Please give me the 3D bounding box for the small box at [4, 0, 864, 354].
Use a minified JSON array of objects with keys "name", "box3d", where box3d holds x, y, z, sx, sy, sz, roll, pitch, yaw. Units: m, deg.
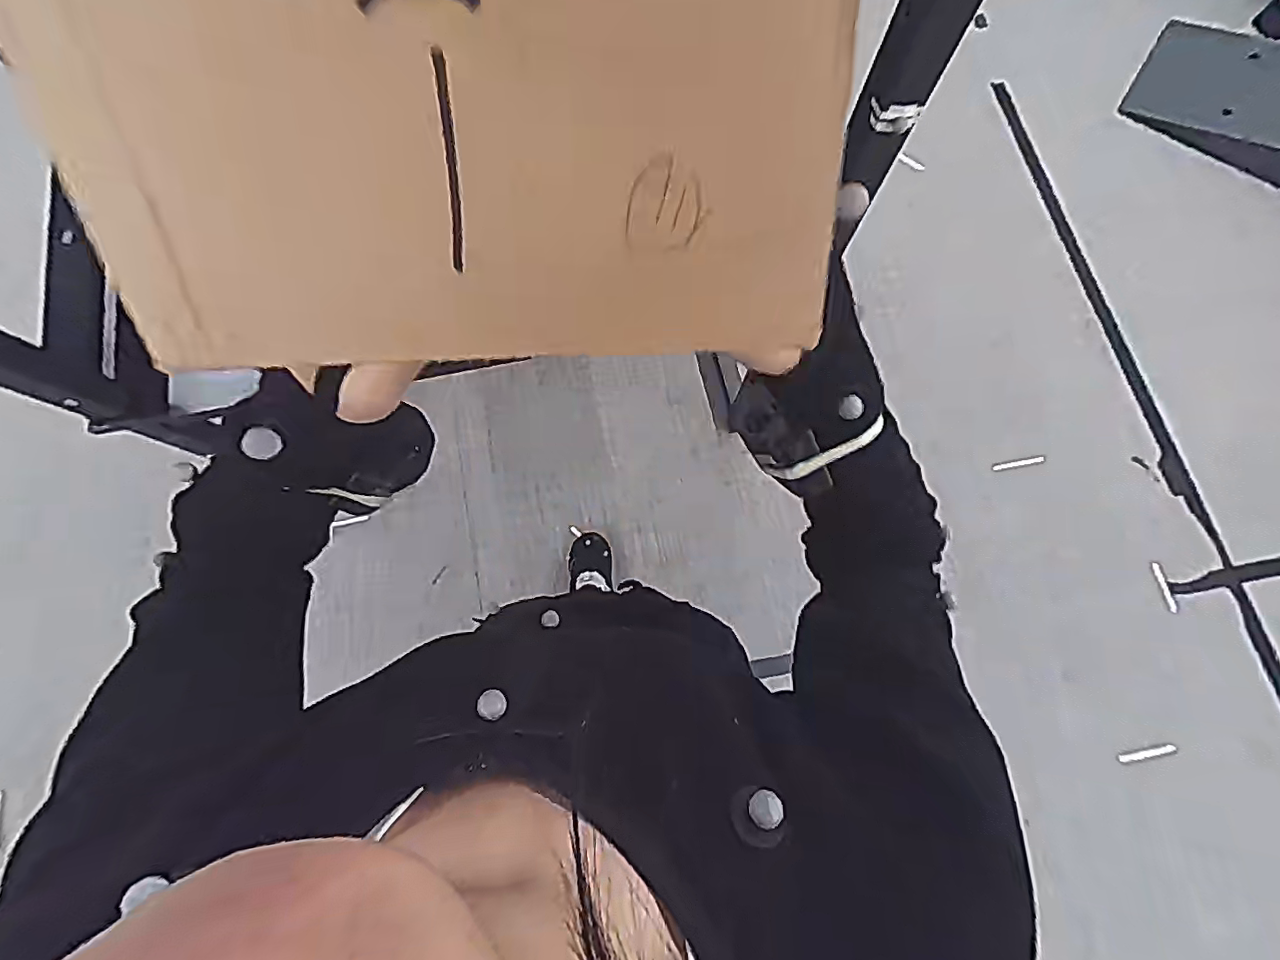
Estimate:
[{"name":"small box","box3d":[-0.041,-0.148,0.167,0.168,0.176,0.179,-3,119,0]}]
